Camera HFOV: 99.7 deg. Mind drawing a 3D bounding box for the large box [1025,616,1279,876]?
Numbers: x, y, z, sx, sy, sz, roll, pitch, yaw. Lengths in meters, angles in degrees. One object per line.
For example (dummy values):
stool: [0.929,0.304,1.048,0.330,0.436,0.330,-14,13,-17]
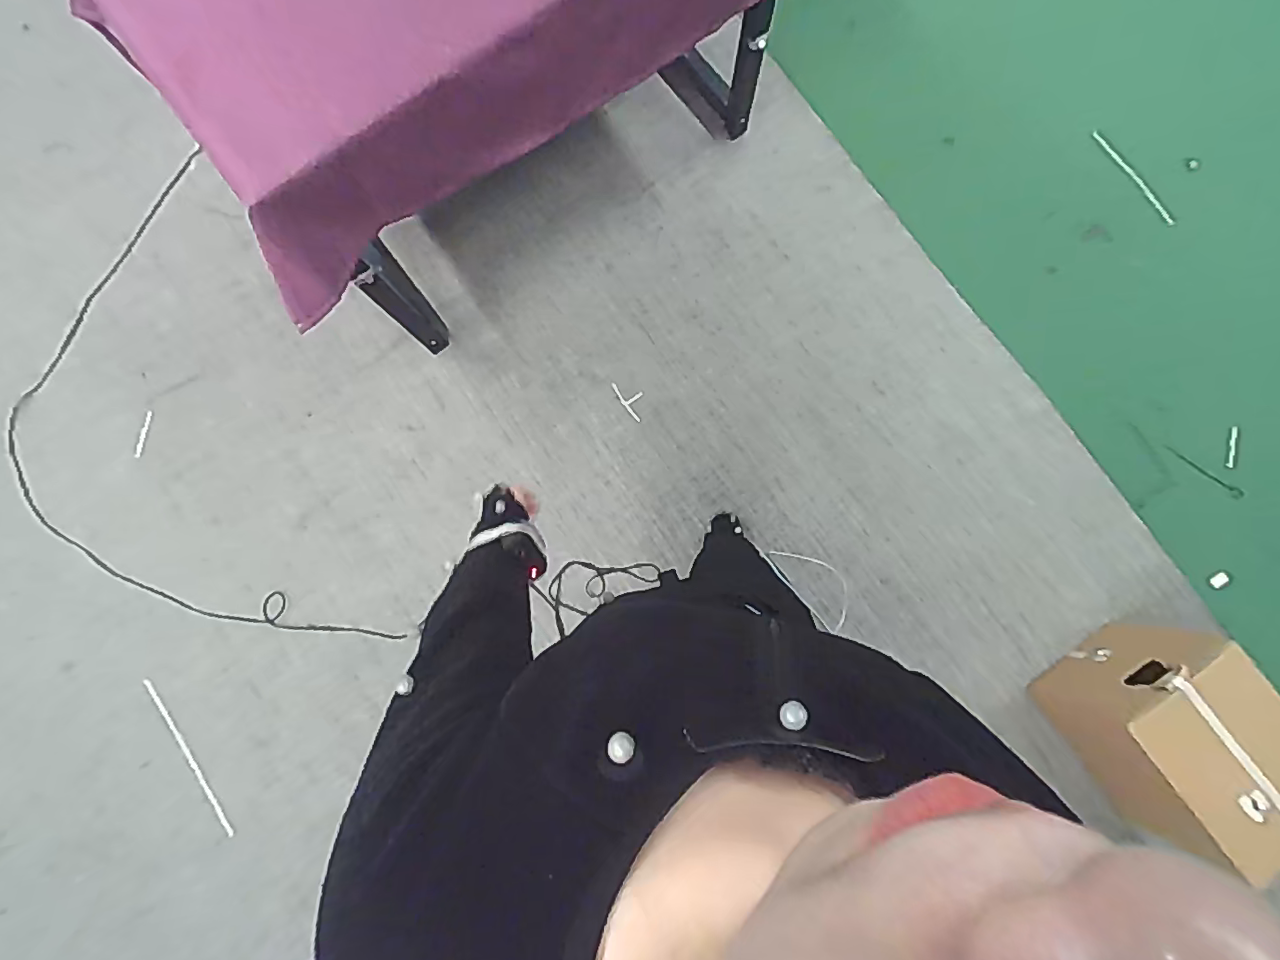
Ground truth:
large box: [1.262,0.594,1.295,0.320,0.320,0.408,-35,85,-4]
